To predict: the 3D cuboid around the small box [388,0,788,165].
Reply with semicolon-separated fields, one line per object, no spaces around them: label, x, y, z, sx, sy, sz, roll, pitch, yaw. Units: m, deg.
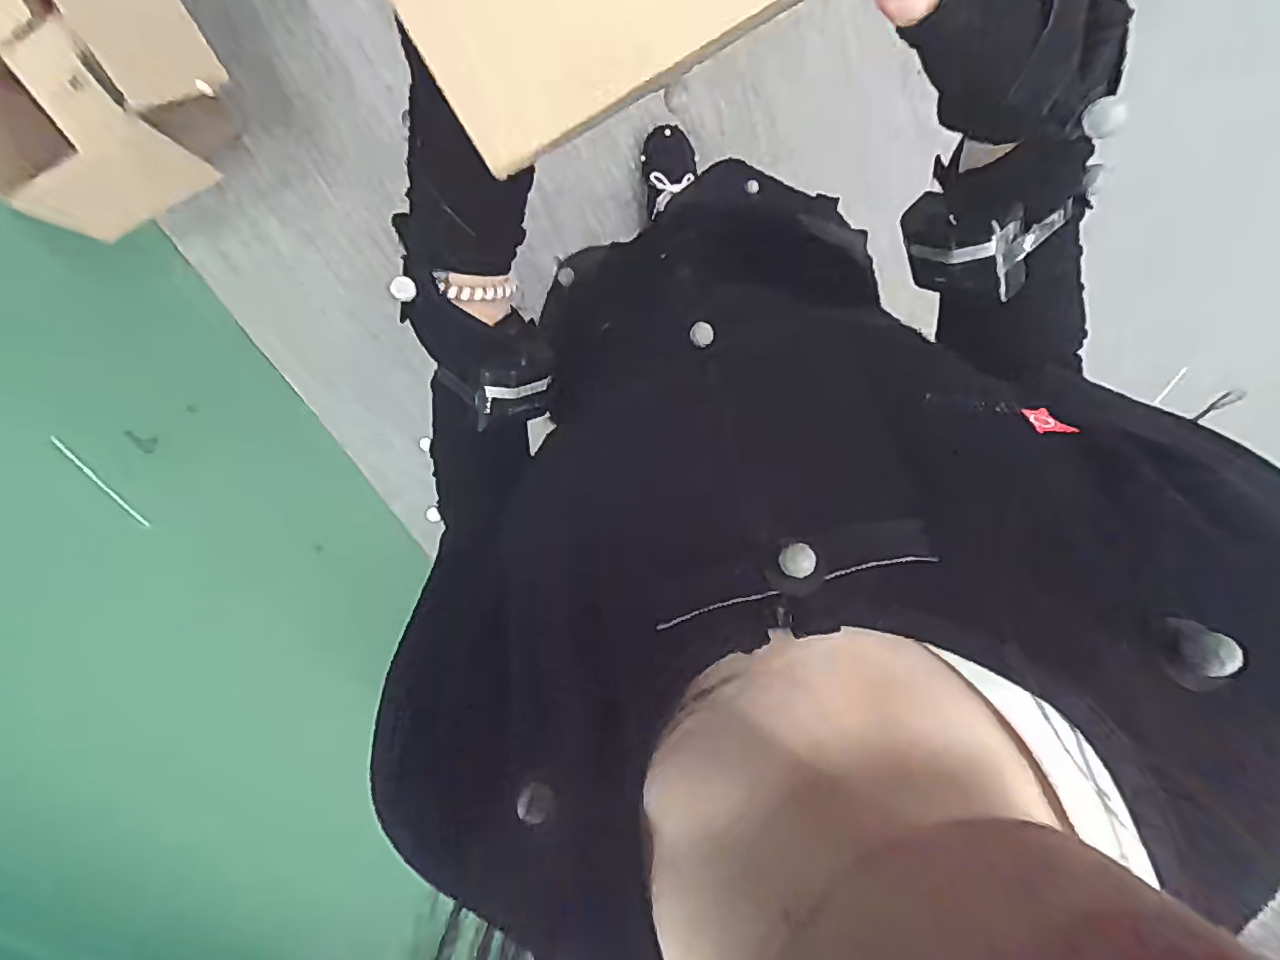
small box;-0.021;-0.256;0.205;0.168;0.176;0.179;-22;123;18
